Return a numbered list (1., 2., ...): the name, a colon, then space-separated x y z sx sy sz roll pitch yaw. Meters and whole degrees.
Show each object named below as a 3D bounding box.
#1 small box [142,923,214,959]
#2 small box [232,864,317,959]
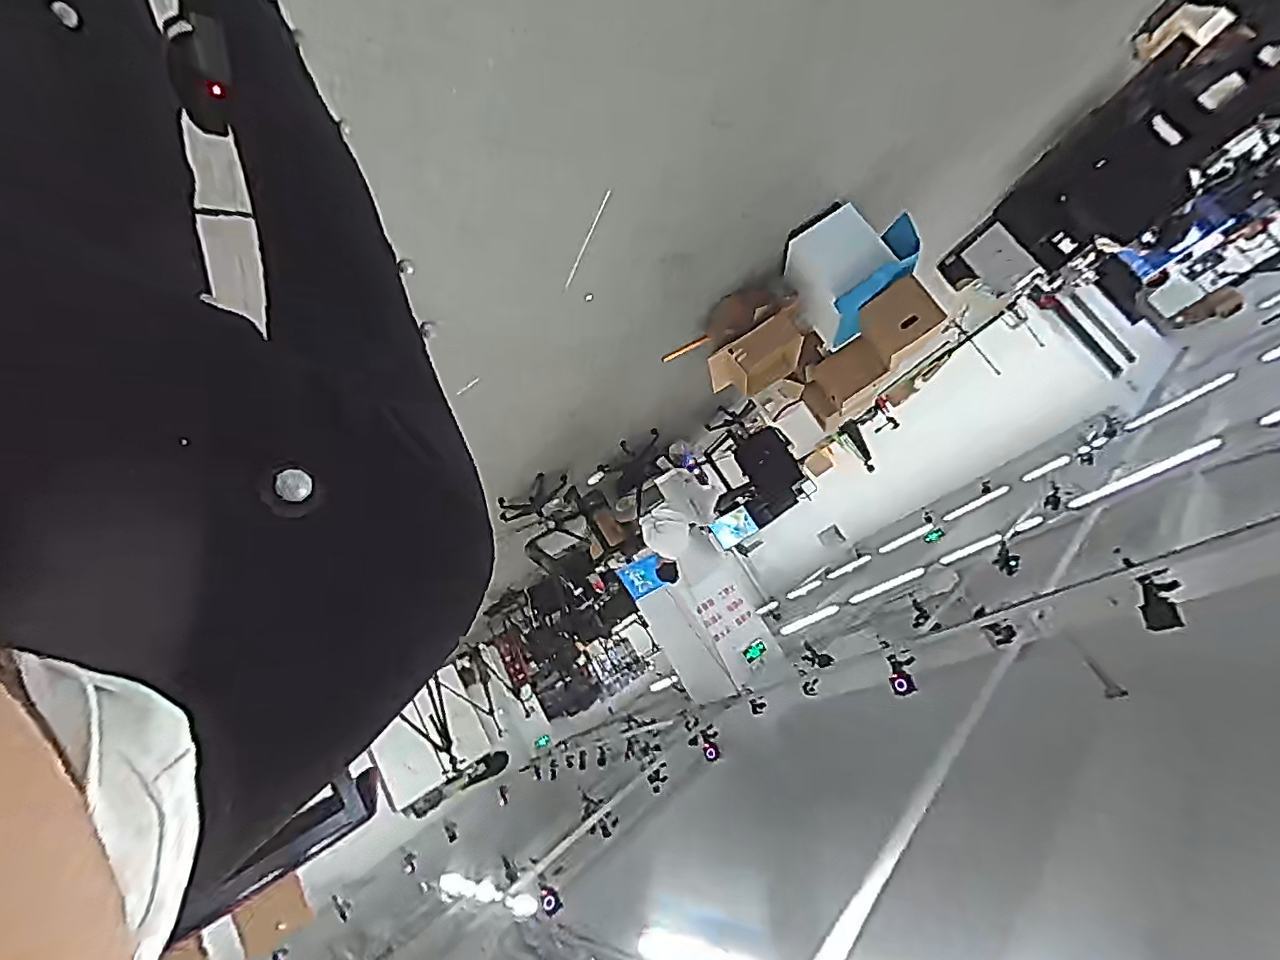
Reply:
1. small box: -1.326 1.405 1.522 0.179 0.176 0.168 -23 165 -38
2. small box: -1.138 1.331 1.681 0.179 0.176 0.168 -19 162 -42
